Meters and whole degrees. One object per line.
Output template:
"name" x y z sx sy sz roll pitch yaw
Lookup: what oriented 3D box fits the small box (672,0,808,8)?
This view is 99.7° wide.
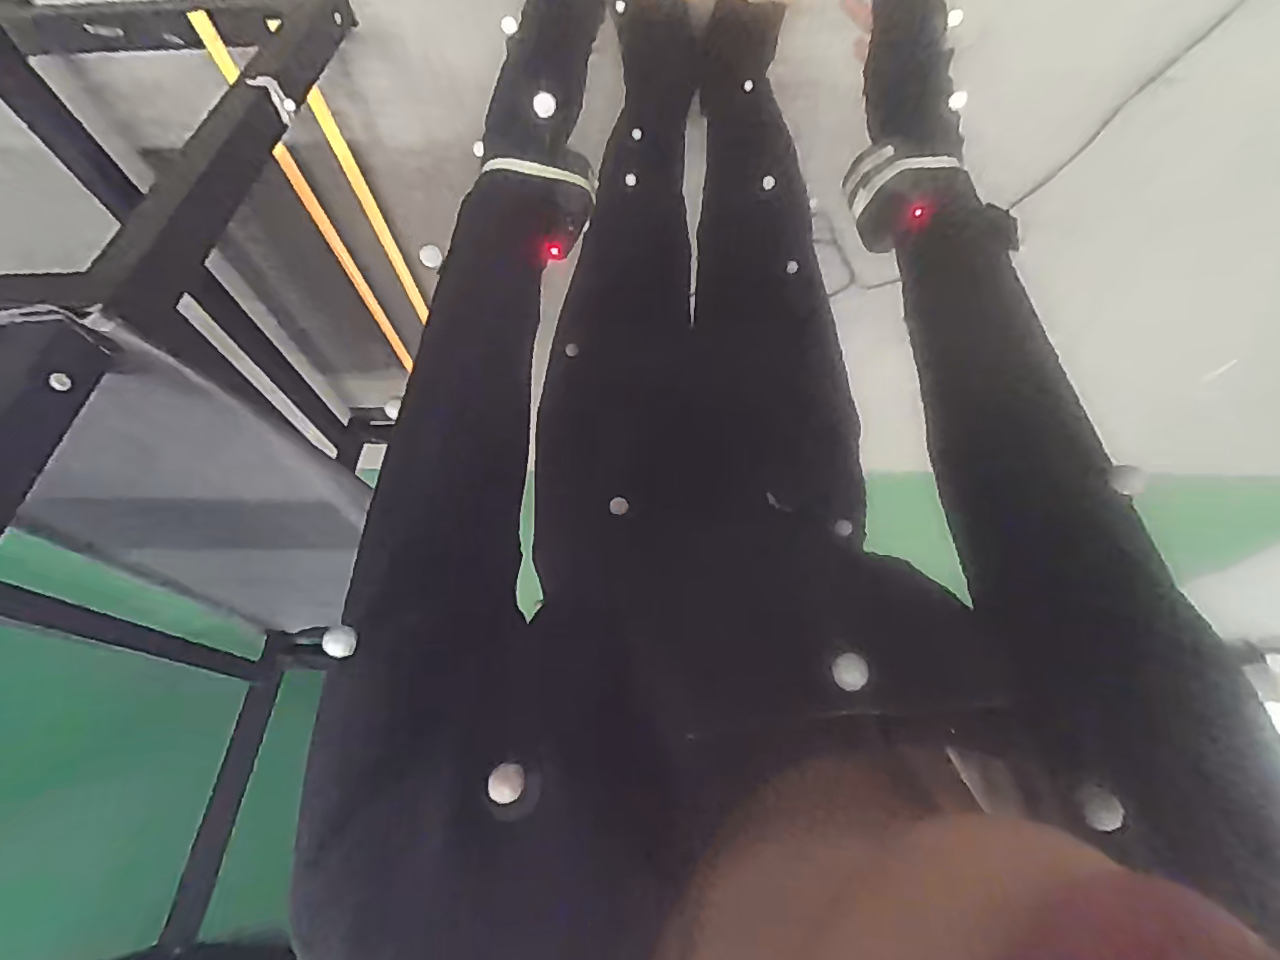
"small box" 0.073 -0.532 0.439 0.168 0.176 0.179 1 150 -1
